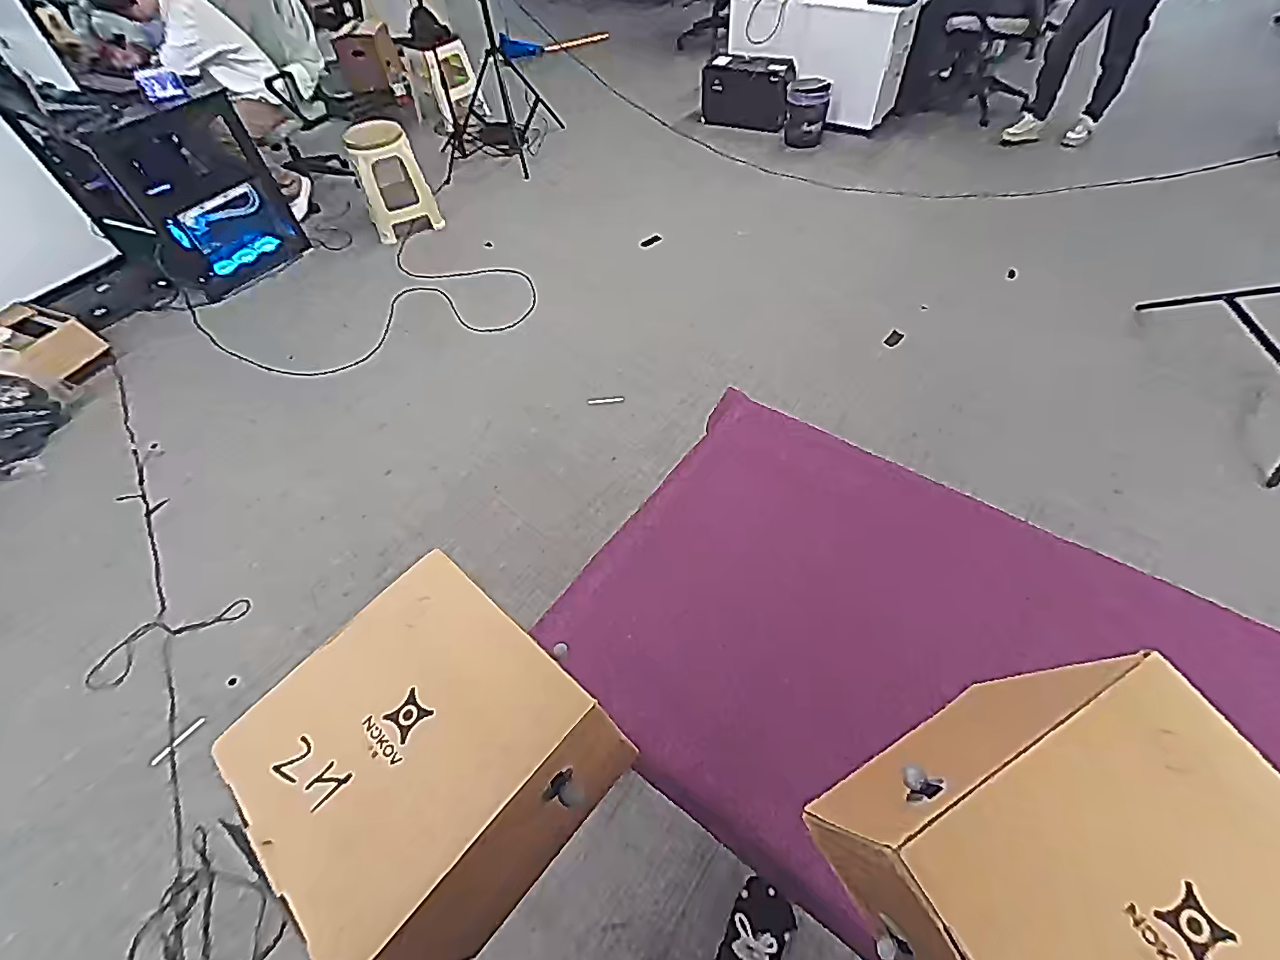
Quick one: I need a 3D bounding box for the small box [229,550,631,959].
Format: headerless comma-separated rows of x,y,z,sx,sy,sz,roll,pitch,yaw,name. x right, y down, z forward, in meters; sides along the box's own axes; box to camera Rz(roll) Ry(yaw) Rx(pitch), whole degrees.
-0.122,0.189,0.383,0.168,0.176,0.179,33,67,29,small box

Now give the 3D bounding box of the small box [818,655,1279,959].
0.233,0.224,0.305,0.179,0.176,0.168,-29,67,-11,small box
